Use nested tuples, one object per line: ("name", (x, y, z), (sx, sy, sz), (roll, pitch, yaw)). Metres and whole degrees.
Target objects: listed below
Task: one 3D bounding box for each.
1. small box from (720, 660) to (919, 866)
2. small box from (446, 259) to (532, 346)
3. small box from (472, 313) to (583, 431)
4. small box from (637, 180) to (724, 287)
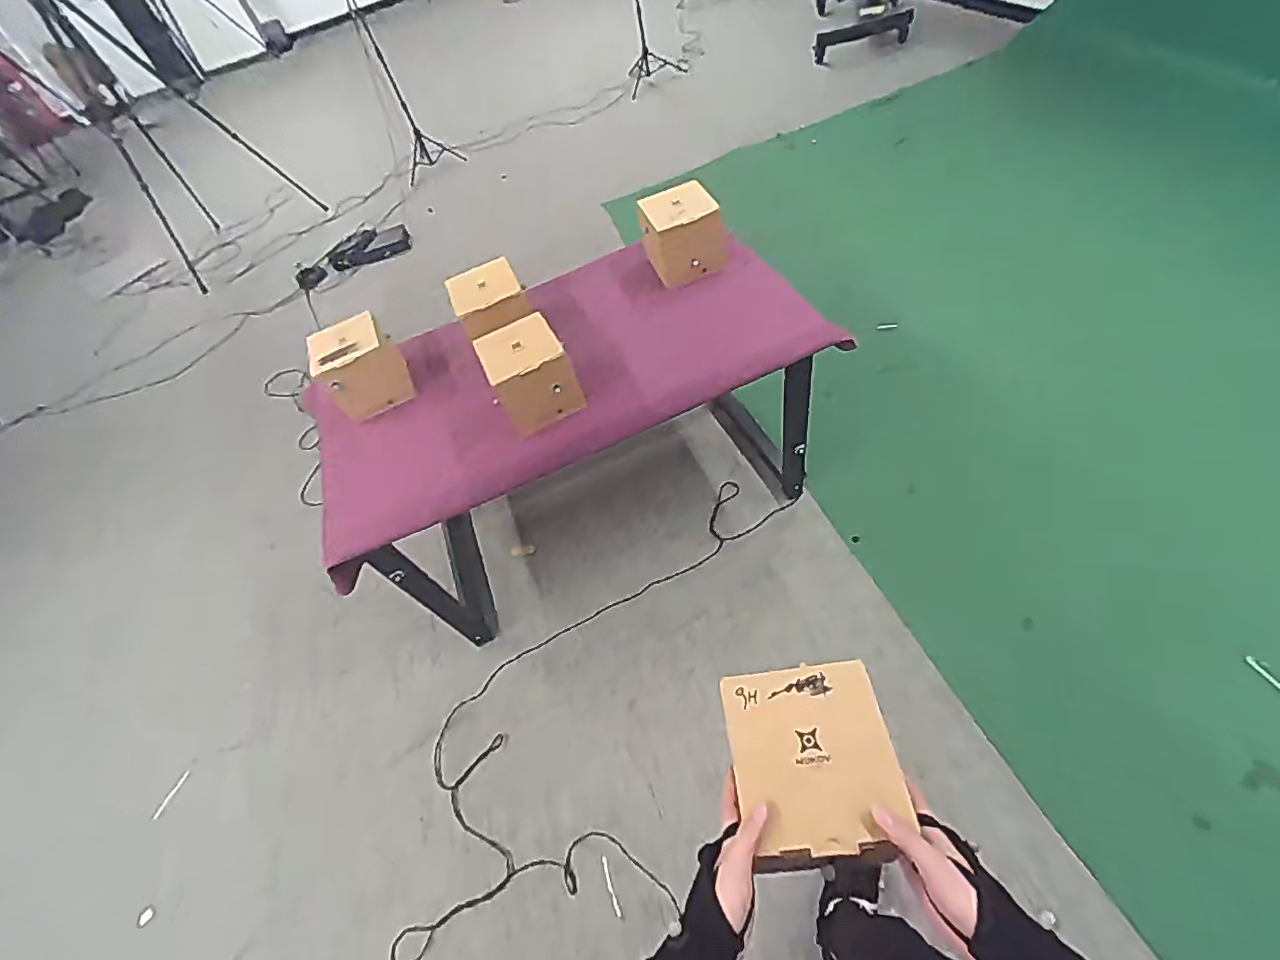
("small box", (0.190, 0.329, 0.618), (0.168, 0.176, 0.179), (-9, 50, 6))
("small box", (-0.367, -0.420, 1.370), (0.168, 0.176, 0.179), (-25, 54, -5))
("small box", (-0.246, -0.231, 1.204), (0.168, 0.176, 0.179), (-27, 52, -6))
("small box", (0.107, -0.635, 1.402), (0.168, 0.176, 0.179), (-21, 54, 0))
